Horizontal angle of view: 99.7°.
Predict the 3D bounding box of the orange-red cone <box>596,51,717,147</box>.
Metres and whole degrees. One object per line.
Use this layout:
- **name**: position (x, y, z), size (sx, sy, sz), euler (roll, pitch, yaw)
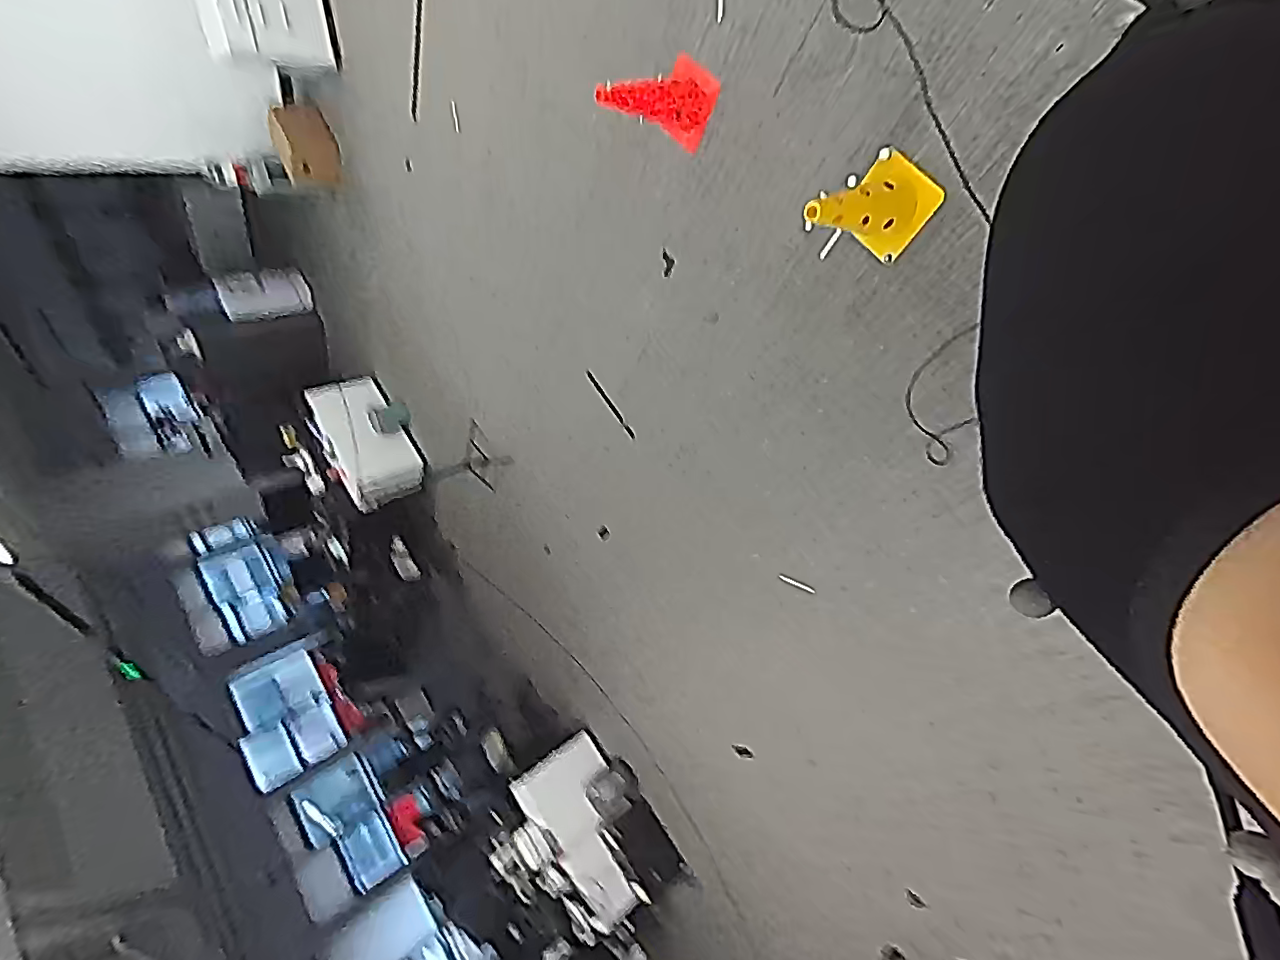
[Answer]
- **orange-red cone**: position (0.021, -1.114, 1.571), size (0.199, 0.360, 0.198), euler (51, 142, 16)
